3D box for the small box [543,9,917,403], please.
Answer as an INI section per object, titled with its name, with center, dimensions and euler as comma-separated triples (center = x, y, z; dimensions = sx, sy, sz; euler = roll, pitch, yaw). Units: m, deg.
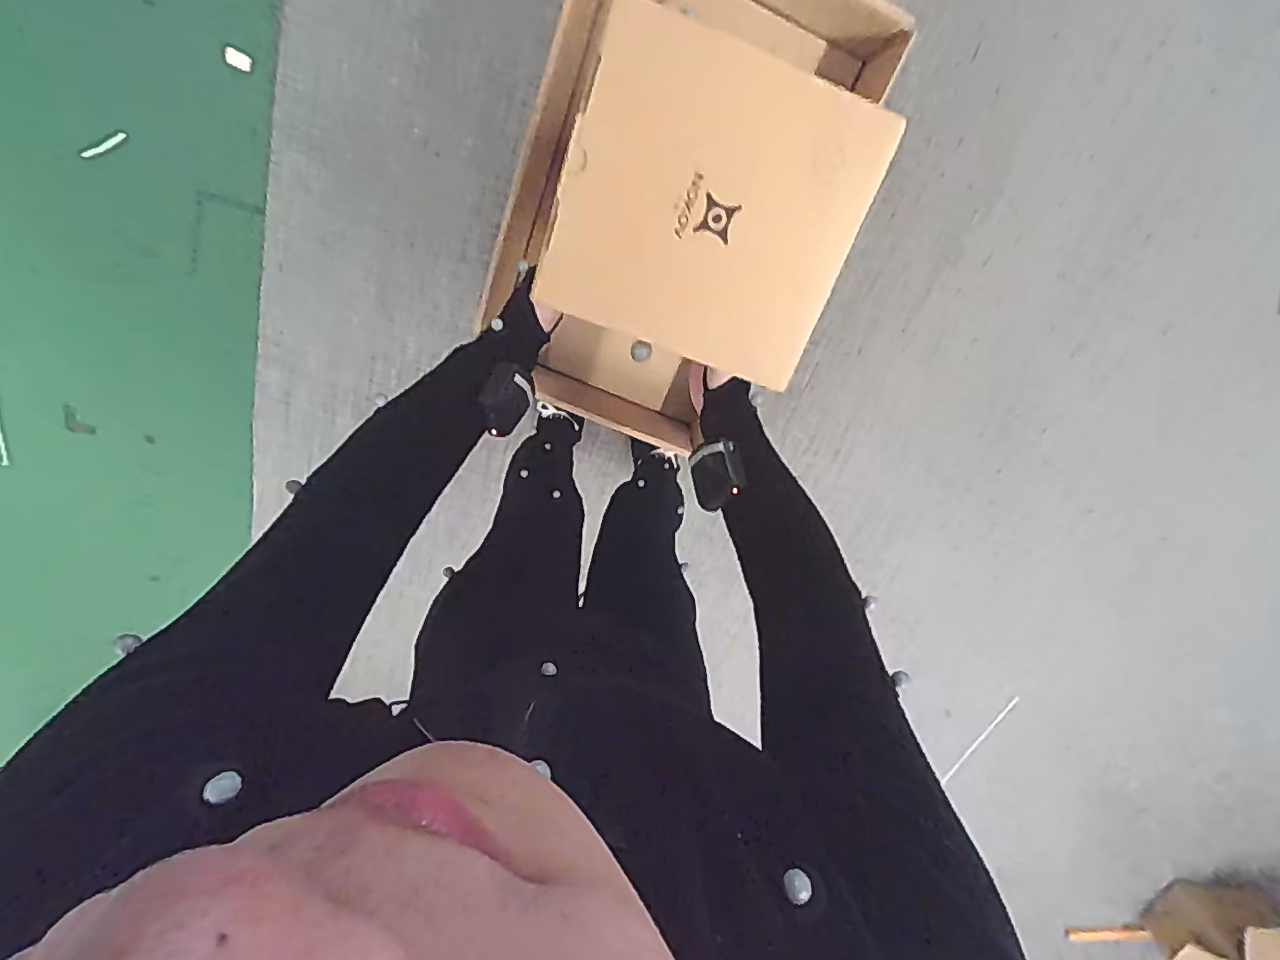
[small box]
center = 0.047, -0.177, 0.390
dimensions = 0.179, 0.176, 0.168
euler = 18, 111, -7
